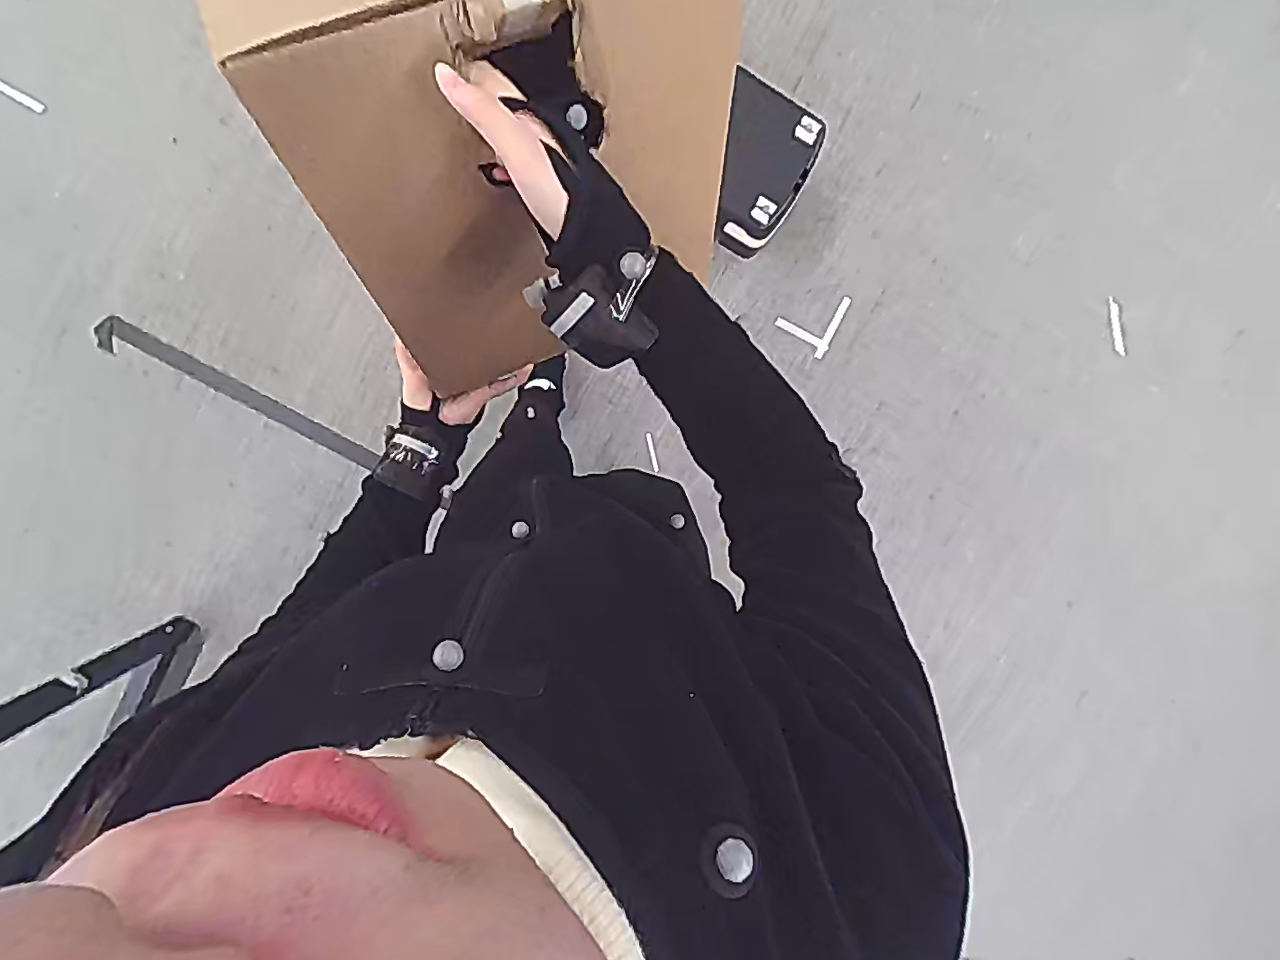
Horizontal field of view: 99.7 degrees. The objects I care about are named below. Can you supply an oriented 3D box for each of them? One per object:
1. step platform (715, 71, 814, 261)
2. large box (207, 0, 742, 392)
[{"bbox_3d":[0.057,-0.839,1.260,0.684,0.204,0.286,34,95,-6],"label":"step platform"},{"bbox_3d":[-0.148,-0.363,0.501,0.320,0.320,0.408,-24,67,-10],"label":"large box"}]
